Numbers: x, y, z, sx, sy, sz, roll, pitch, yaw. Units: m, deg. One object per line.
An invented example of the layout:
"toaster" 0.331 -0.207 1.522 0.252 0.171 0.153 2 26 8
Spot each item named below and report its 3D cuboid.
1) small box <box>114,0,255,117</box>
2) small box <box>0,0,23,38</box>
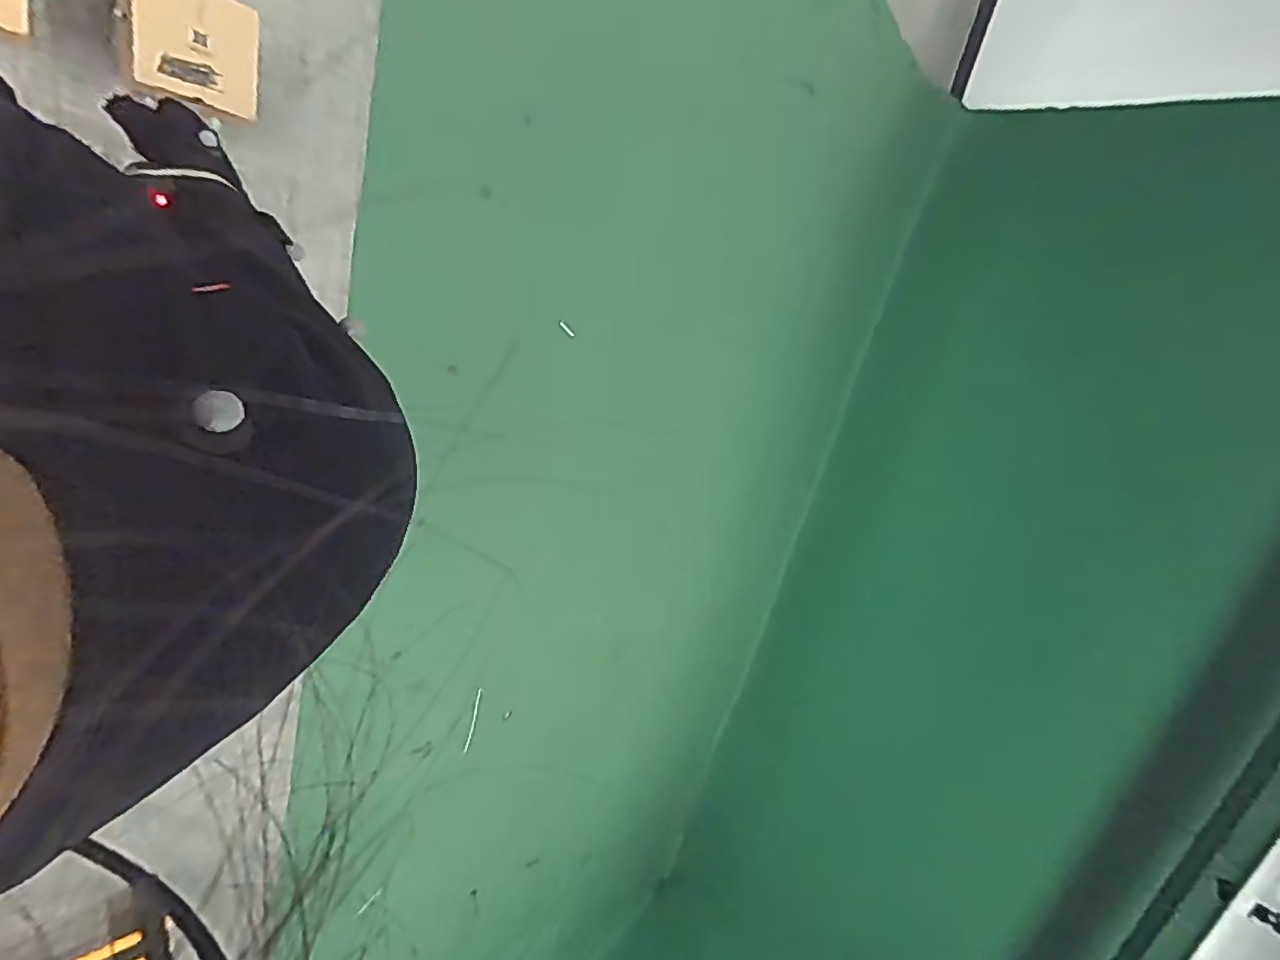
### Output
"small box" -0.792 -0.761 0.941 0.168 0.176 0.179 -4 114 -48
"small box" -0.971 -0.756 0.740 0.168 0.176 0.179 0 112 -49
